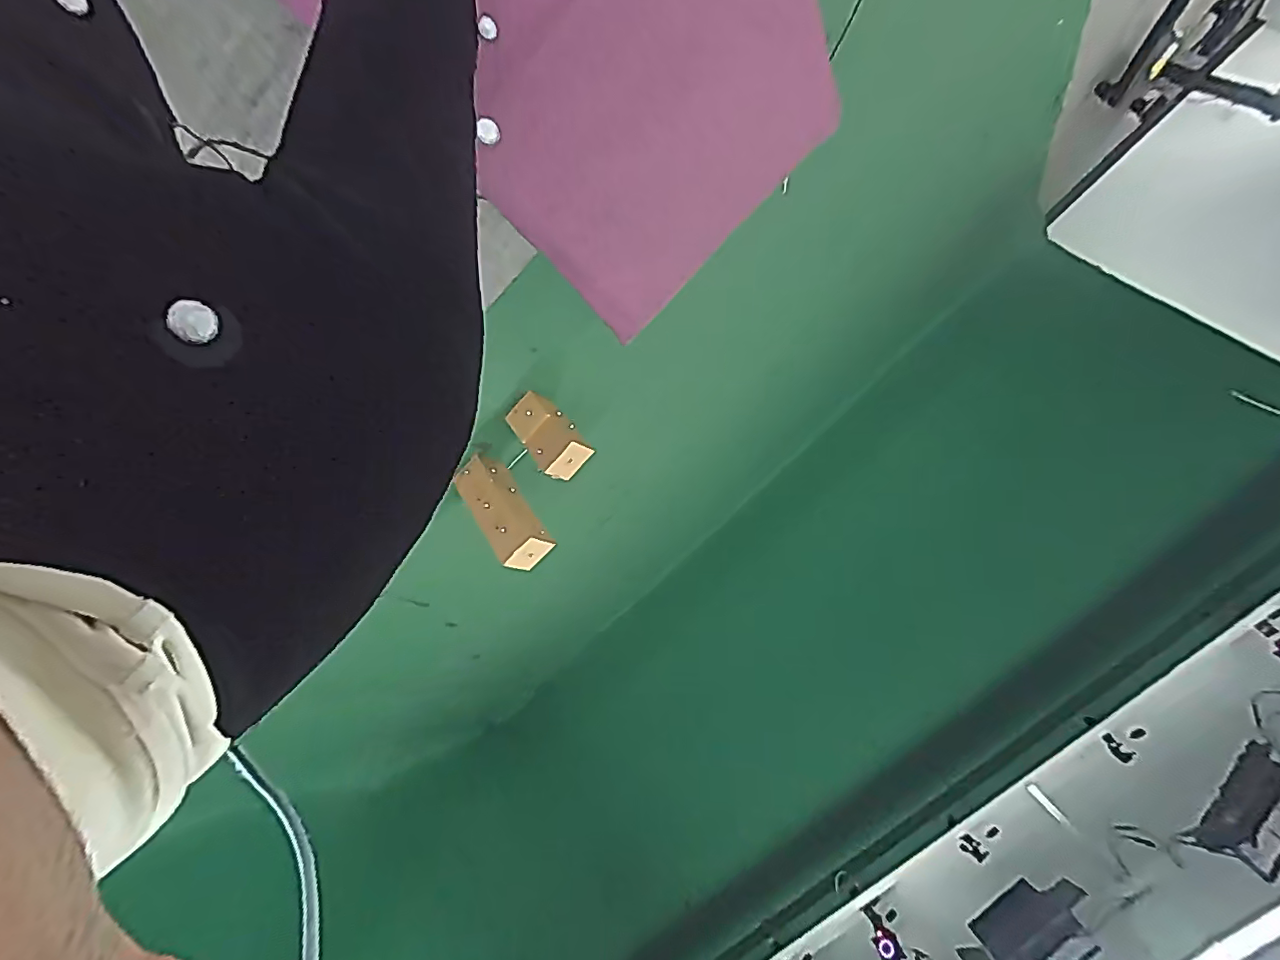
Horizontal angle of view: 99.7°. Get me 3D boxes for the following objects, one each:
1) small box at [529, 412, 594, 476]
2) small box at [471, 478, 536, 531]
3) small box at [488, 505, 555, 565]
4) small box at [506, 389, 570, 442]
[{"bbox_3d":[-0.330,-0.146,2.217,0.179,0.176,0.168,-46,152,12],"label":"small box"},{"bbox_3d":[-0.581,0.115,2.292,0.168,0.176,0.179,-43,150,10],"label":"small box"},{"bbox_3d":[-0.486,0.226,2.215,0.168,0.176,0.179,-44,151,8],"label":"small box"},{"bbox_3d":[-0.429,-0.260,2.279,0.168,0.176,0.179,-46,152,12],"label":"small box"}]
